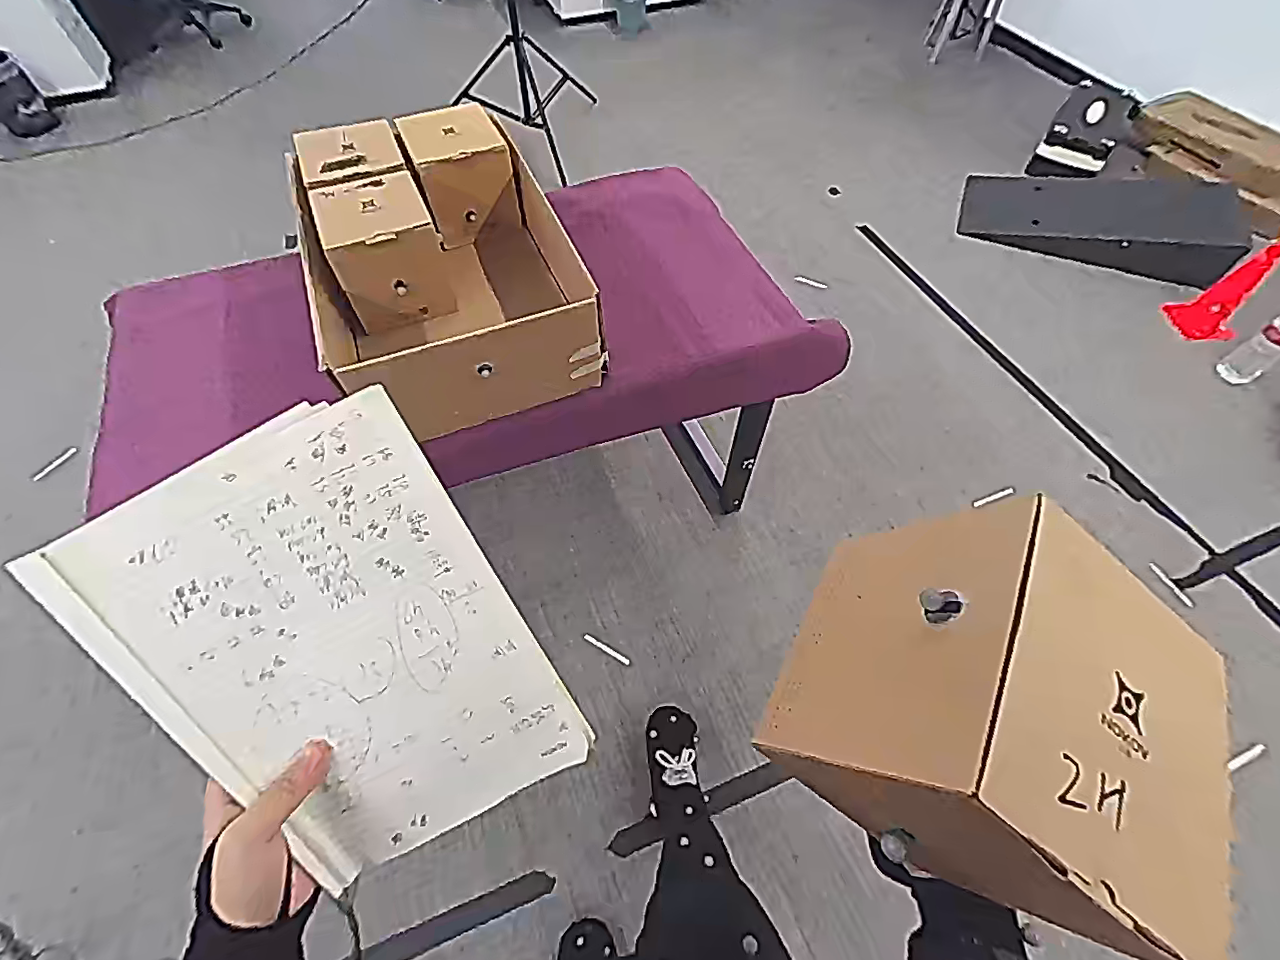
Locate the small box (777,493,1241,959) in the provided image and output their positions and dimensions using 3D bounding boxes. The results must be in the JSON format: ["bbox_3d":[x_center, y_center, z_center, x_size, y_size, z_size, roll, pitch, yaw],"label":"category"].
[{"bbox_3d":[0.218,0.140,0.345,0.168,0.176,0.179,38,62,-7],"label":"small box"}]
